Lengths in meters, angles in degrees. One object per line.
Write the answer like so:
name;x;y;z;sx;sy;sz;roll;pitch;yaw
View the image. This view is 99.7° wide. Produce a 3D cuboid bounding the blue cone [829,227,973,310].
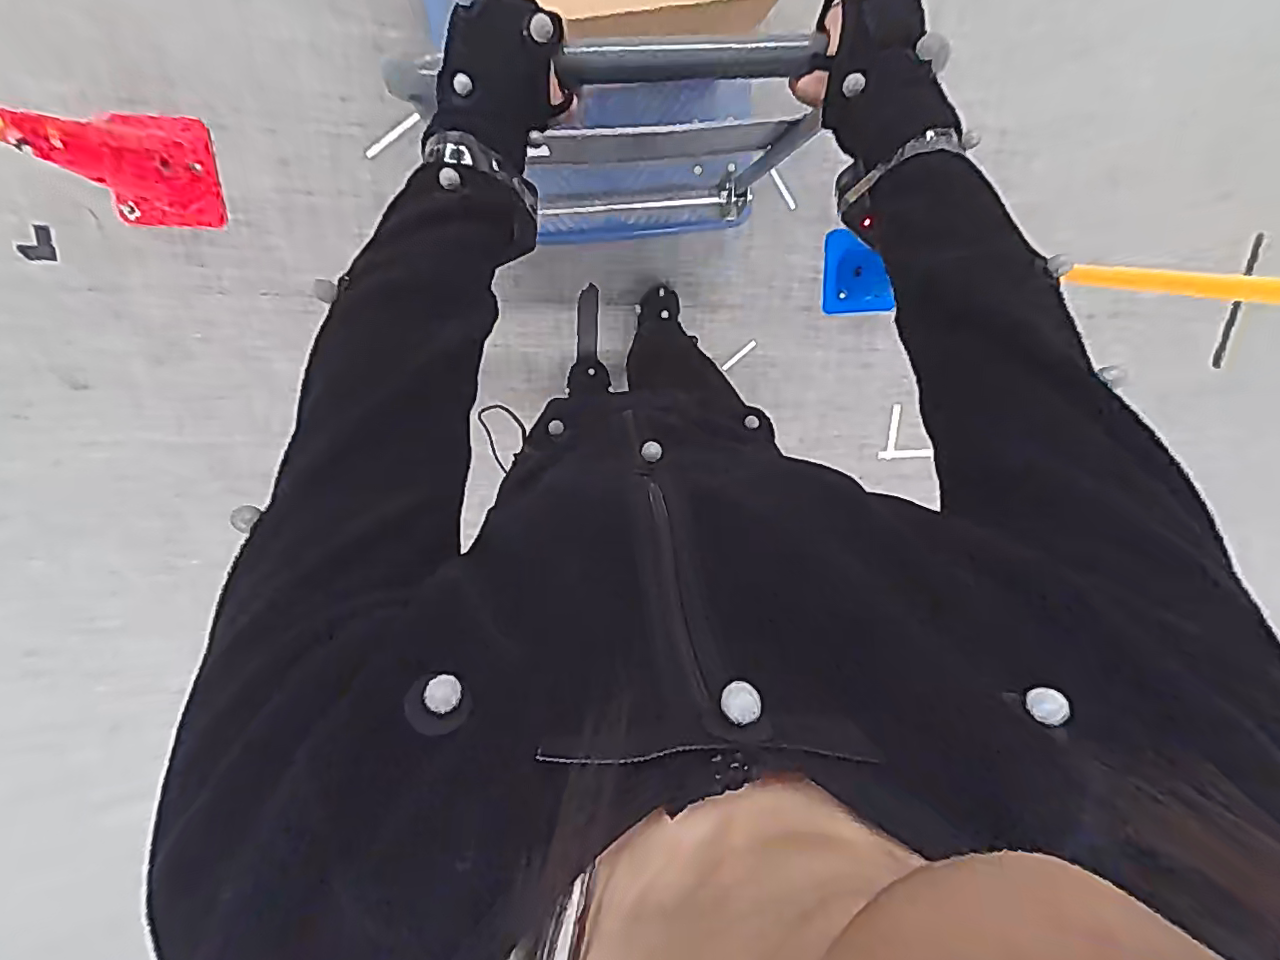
blue cone;0.586;-0.476;1.195;0.193;0.380;0.192;-4;109;-8
